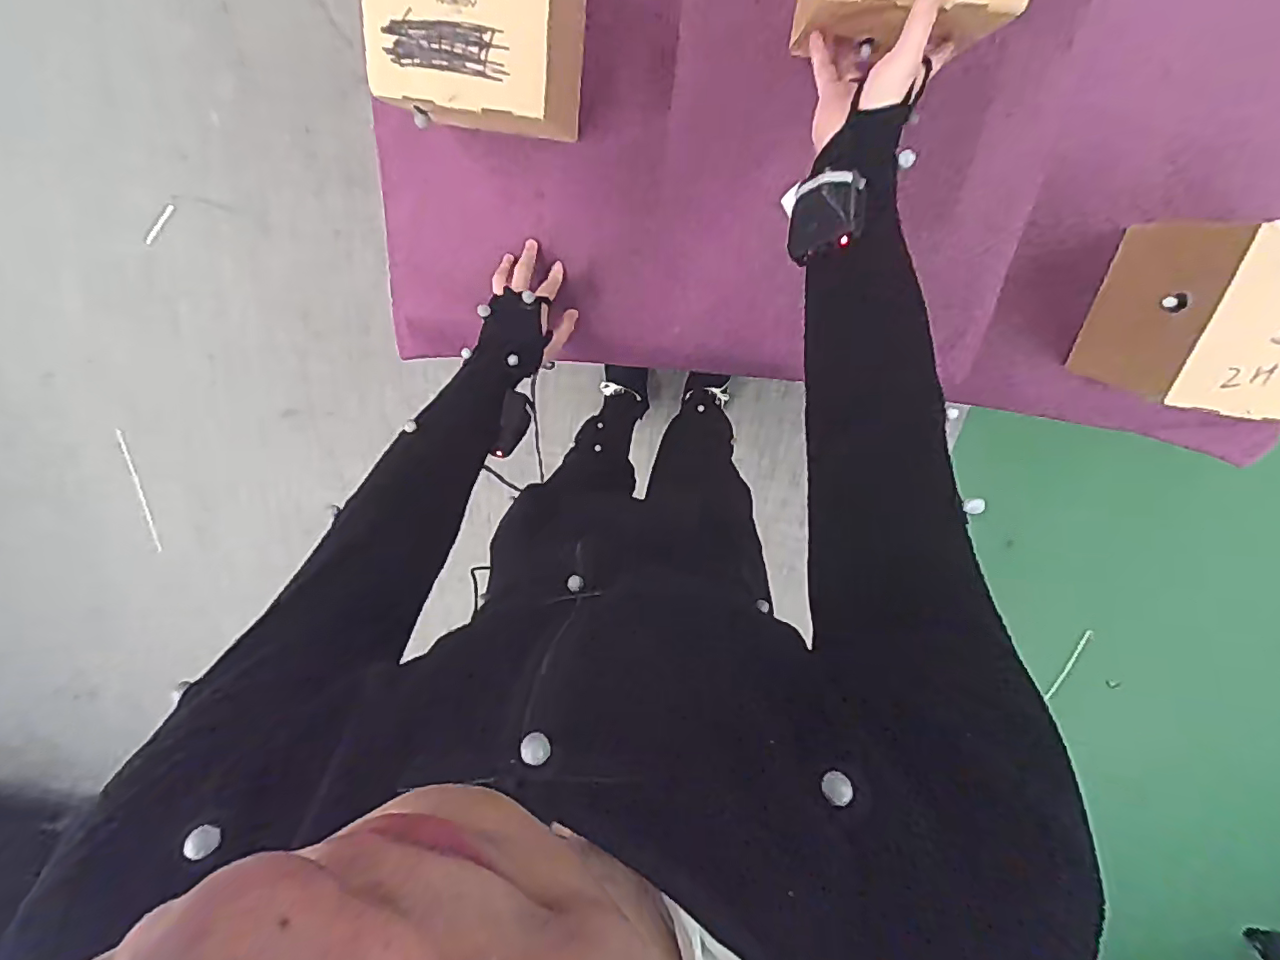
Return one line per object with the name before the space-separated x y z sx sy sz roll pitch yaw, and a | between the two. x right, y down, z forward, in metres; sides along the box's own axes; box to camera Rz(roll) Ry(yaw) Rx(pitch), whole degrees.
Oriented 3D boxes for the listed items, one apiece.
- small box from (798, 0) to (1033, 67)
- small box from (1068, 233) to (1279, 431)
small box | 0.250 -0.500 0.481 0.168 0.176 0.179 5 117 1
small box | 0.640 -0.171 0.606 0.168 0.176 0.179 9 115 1
